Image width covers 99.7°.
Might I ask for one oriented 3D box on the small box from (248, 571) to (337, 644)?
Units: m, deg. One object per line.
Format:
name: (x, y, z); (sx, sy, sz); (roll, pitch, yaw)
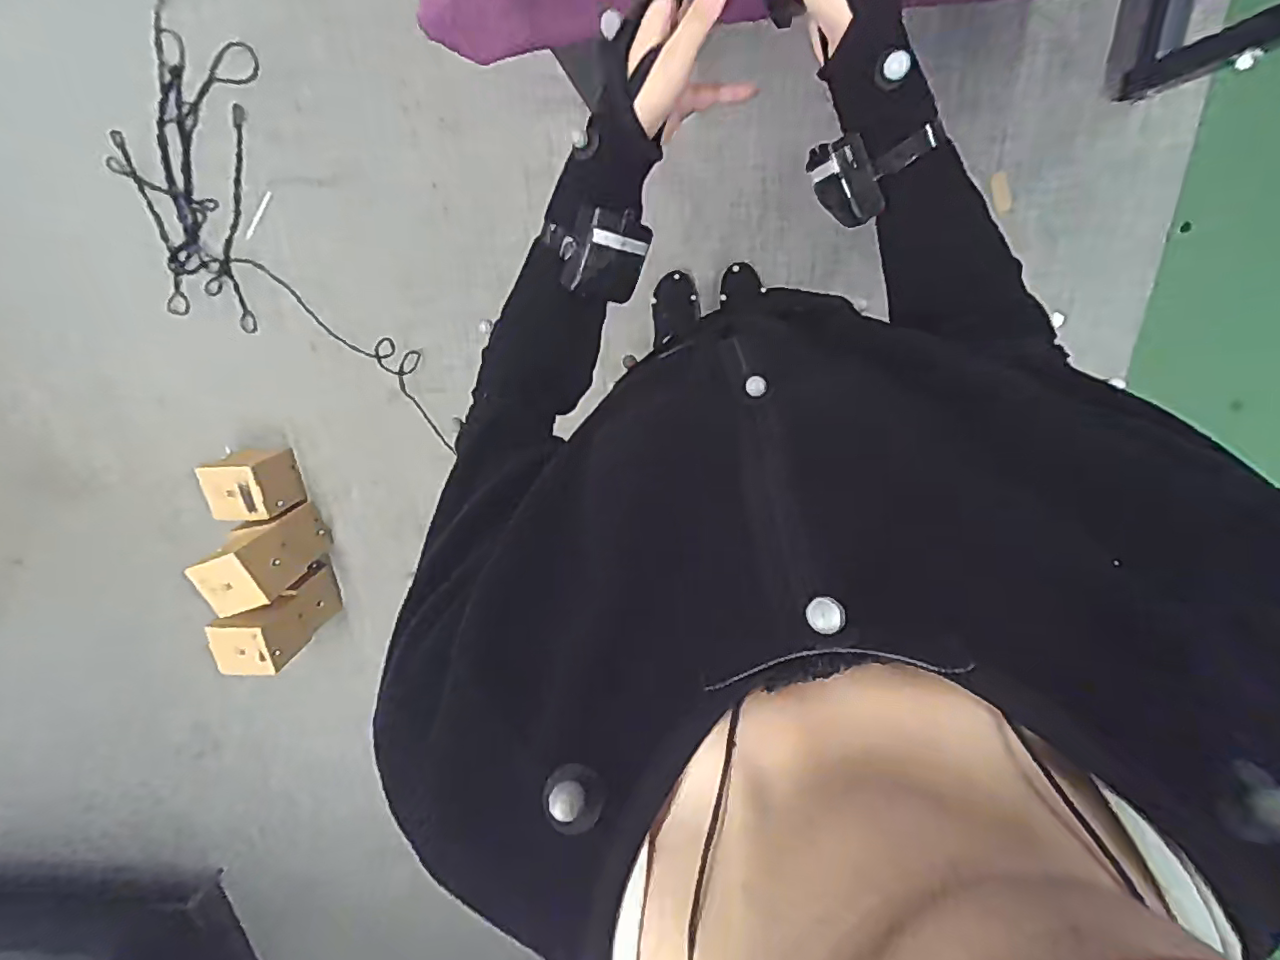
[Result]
small box: (-1.110, 0.401, 1.731); (0.168, 0.176, 0.179); (-1, 111, 6)

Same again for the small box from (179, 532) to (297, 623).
small box: (-1.100, 0.265, 1.503); (0.179, 0.176, 0.168); (-17, 109, 12)
